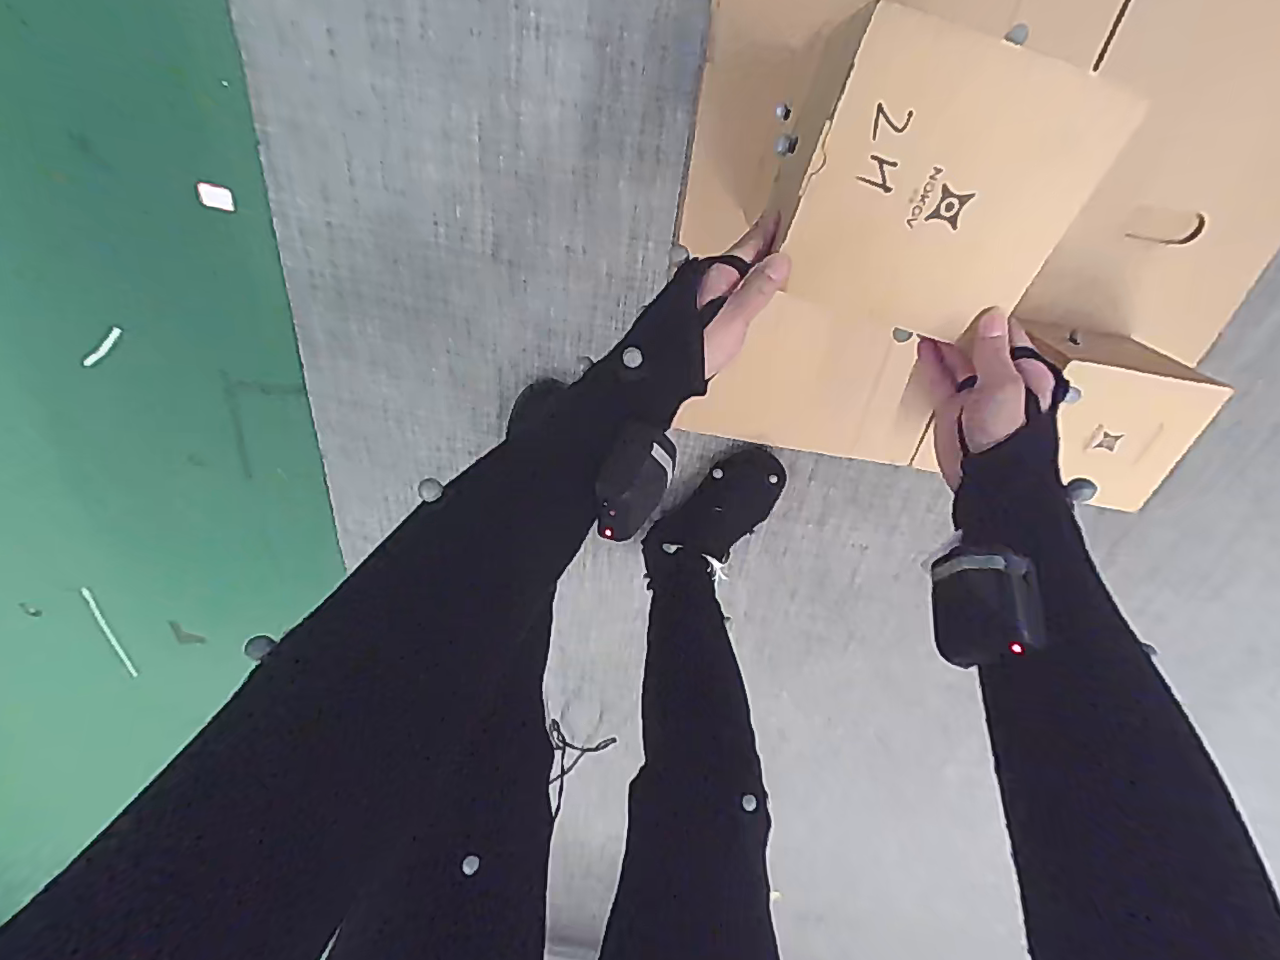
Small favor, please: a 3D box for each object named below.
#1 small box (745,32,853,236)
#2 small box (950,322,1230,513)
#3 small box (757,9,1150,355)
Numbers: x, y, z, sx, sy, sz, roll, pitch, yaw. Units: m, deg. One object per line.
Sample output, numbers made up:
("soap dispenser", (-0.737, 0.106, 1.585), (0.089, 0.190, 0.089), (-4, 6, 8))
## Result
("small box", (0.222, -0.324, 0.559), (0.179, 0.176, 0.168), (16, 122, -4))
("small box", (0.528, -0.086, 0.674), (0.179, 0.176, 0.168), (11, 123, 1))
("small box", (0.206, -0.224, 0.421), (0.179, 0.176, 0.168), (16, 124, -4))
